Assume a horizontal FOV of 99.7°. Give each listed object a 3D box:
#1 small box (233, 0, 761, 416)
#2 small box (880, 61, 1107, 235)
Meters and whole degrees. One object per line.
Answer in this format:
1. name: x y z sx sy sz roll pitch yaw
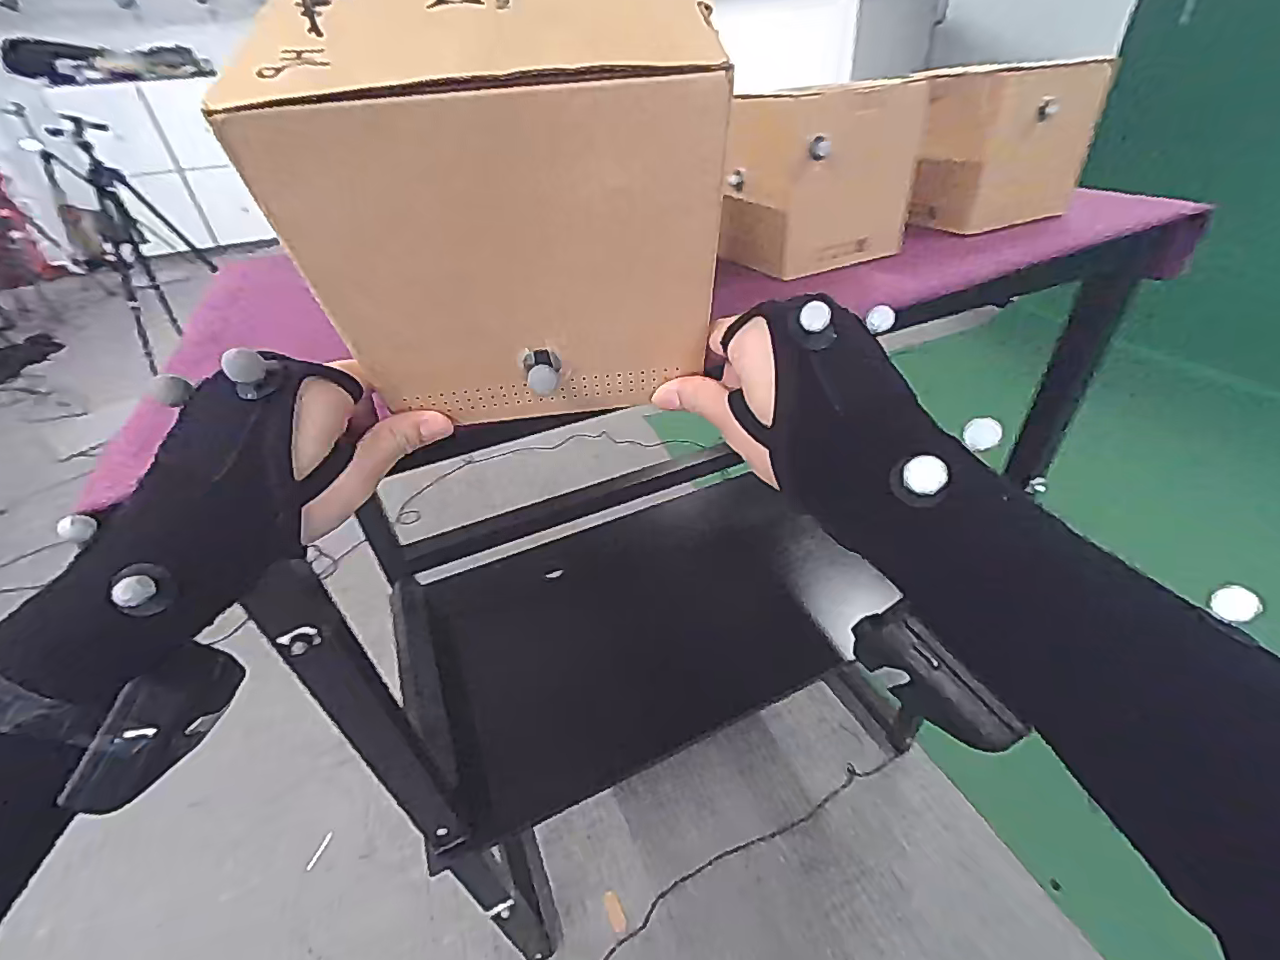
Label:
1. small box: -0.052 -0.152 0.286 0.179 0.176 0.168 -6 57 -3
2. small box: 0.442 -0.431 0.710 0.179 0.176 0.168 -18 38 -17
